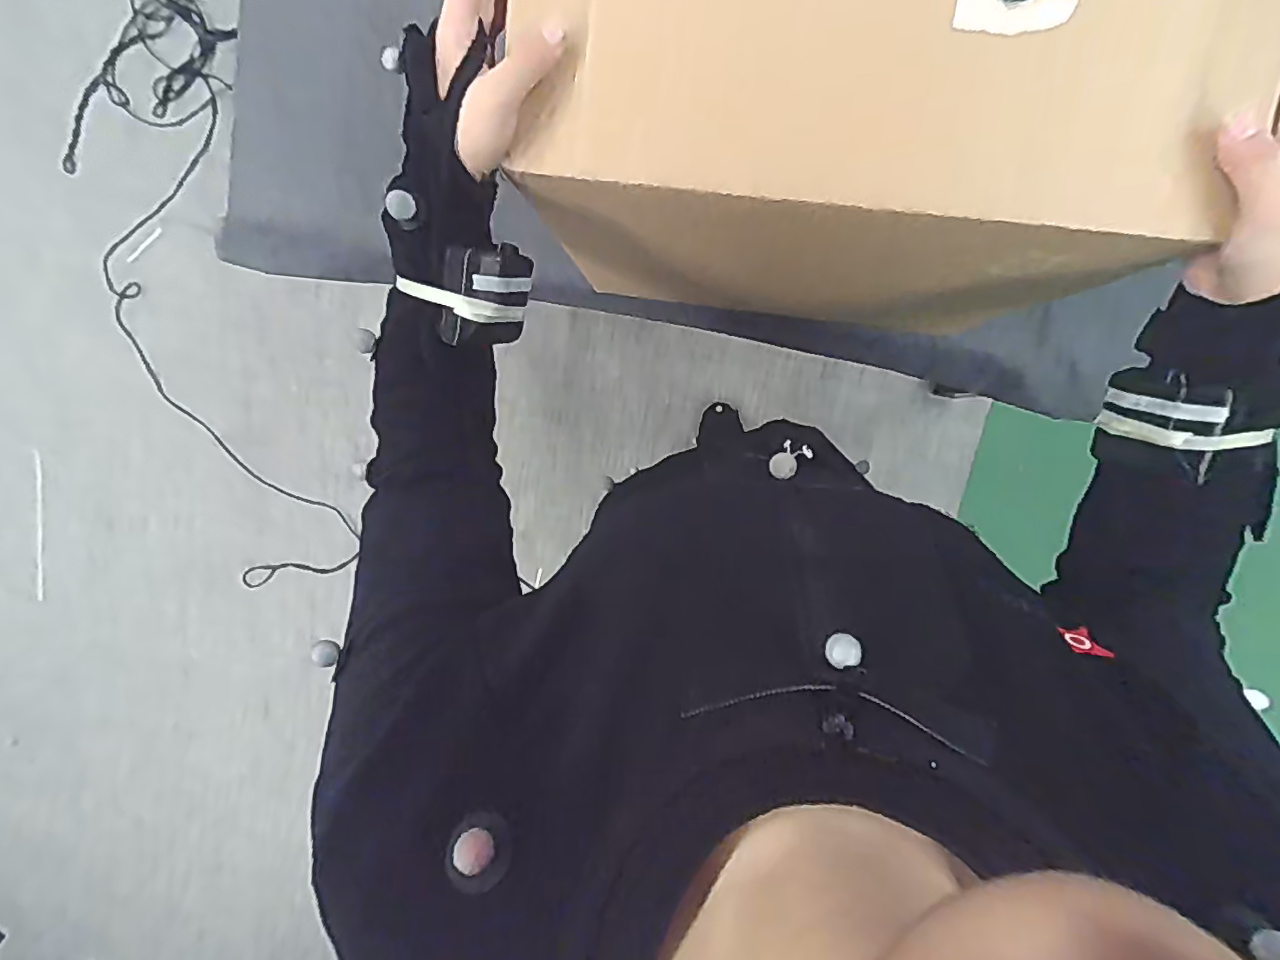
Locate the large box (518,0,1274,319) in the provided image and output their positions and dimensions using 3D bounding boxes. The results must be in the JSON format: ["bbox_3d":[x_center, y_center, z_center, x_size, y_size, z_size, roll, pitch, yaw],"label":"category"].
[{"bbox_3d":[0.150,-0.333,0.439,0.408,0.320,0.320,8,98,4],"label":"large box"}]
